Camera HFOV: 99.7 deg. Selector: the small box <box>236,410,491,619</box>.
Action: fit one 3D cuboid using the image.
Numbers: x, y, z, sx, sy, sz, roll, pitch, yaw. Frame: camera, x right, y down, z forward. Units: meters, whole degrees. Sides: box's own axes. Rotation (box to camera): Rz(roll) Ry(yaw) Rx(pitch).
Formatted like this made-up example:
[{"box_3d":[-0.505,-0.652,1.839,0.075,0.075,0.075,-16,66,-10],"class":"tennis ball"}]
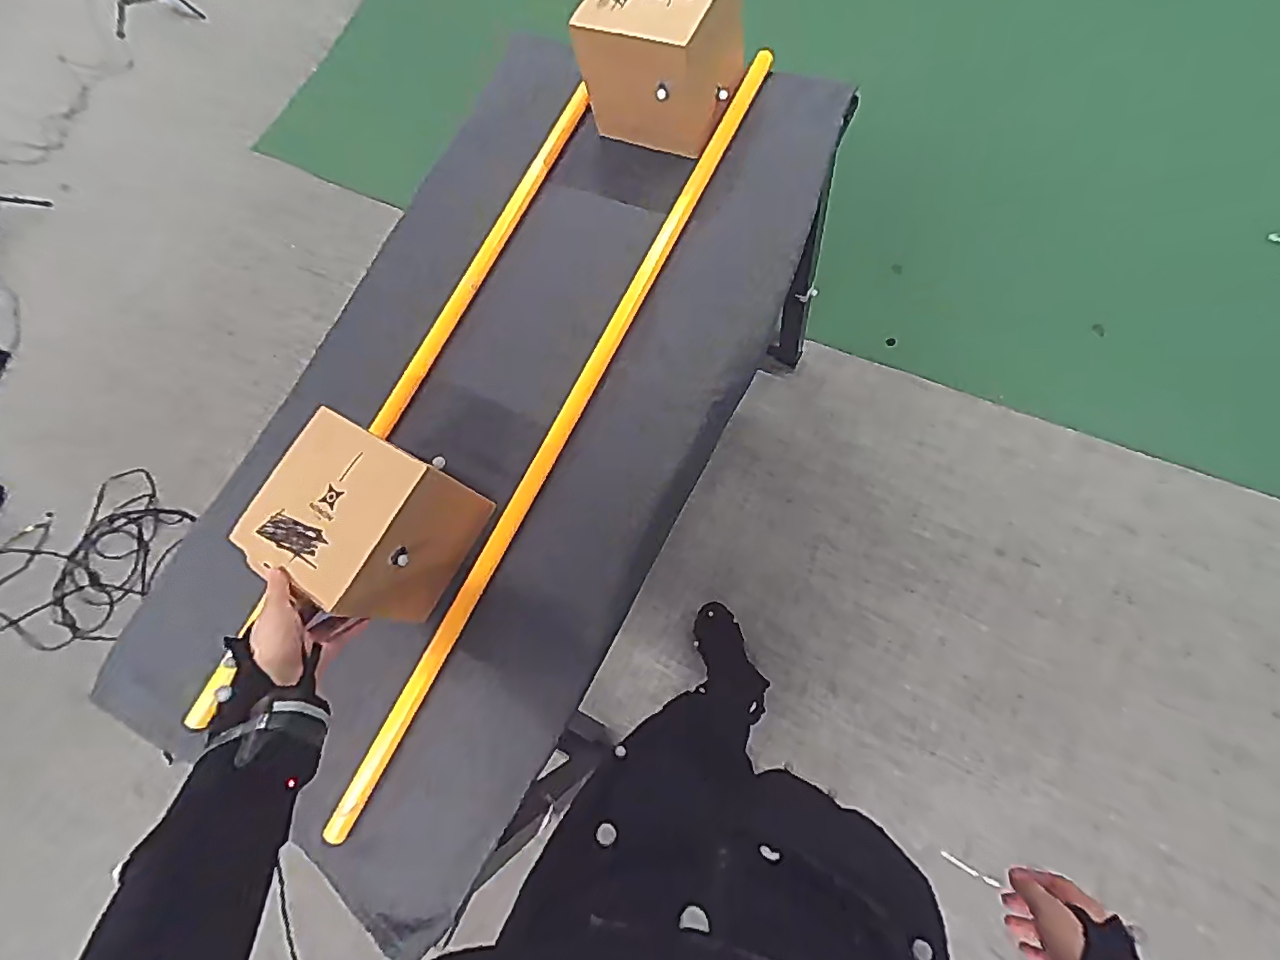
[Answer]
[{"box_3d":[-0.310,0.052,0.644,0.168,0.176,0.179,27,79,17],"class":"small box"}]
